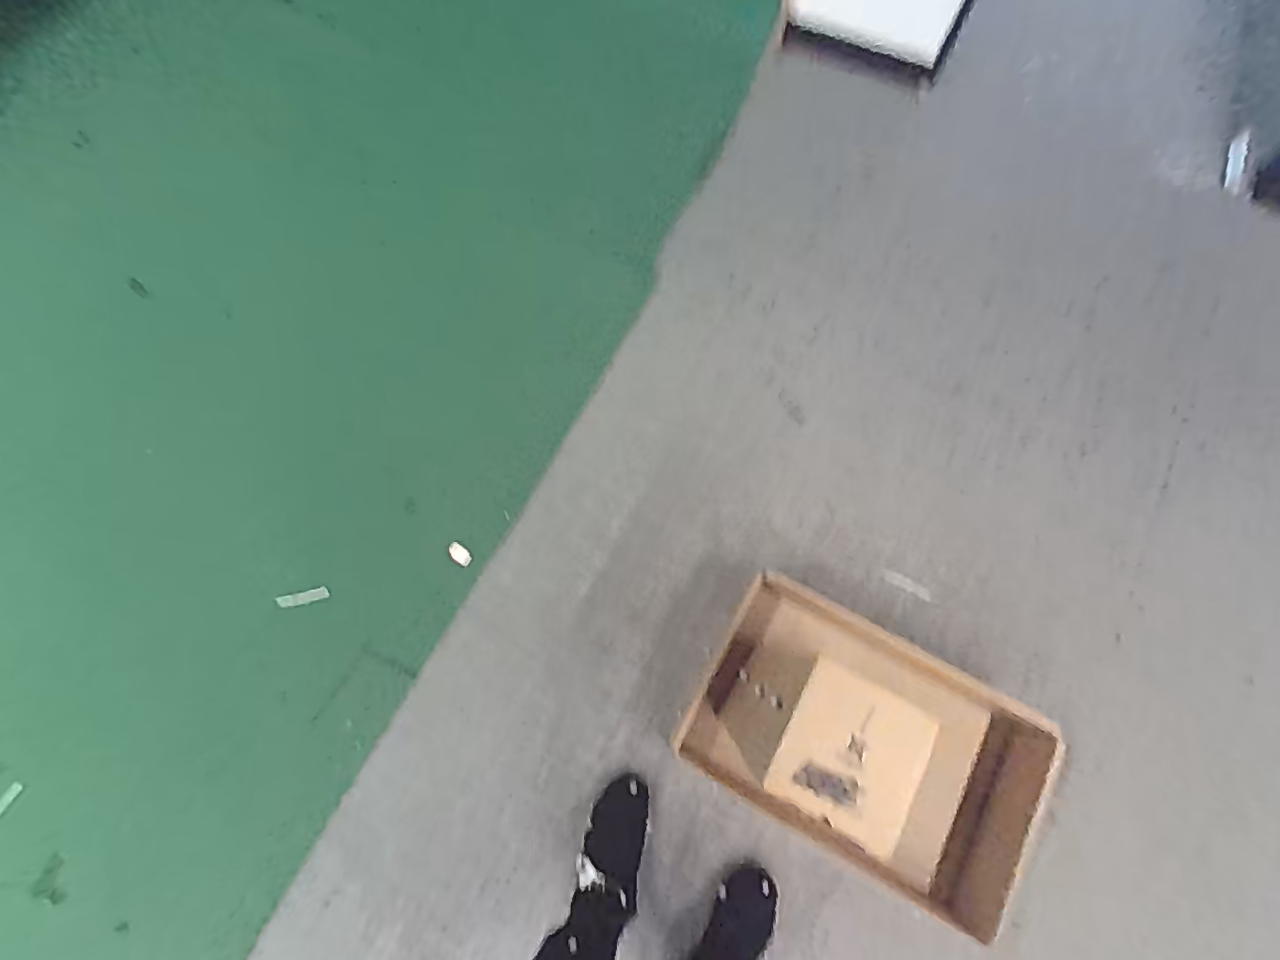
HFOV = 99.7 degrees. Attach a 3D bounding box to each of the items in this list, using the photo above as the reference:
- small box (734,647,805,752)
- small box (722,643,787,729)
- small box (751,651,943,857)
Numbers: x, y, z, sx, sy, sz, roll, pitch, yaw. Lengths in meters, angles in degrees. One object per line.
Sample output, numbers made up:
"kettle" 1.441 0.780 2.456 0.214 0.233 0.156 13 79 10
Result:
"small box" 0.270 0.393 0.894 0.168 0.176 0.179 30 77 9
"small box" 0.274 0.434 1.053 0.168 0.176 0.179 30 77 9
"small box" 0.264 0.352 0.736 0.168 0.176 0.179 28 76 8
